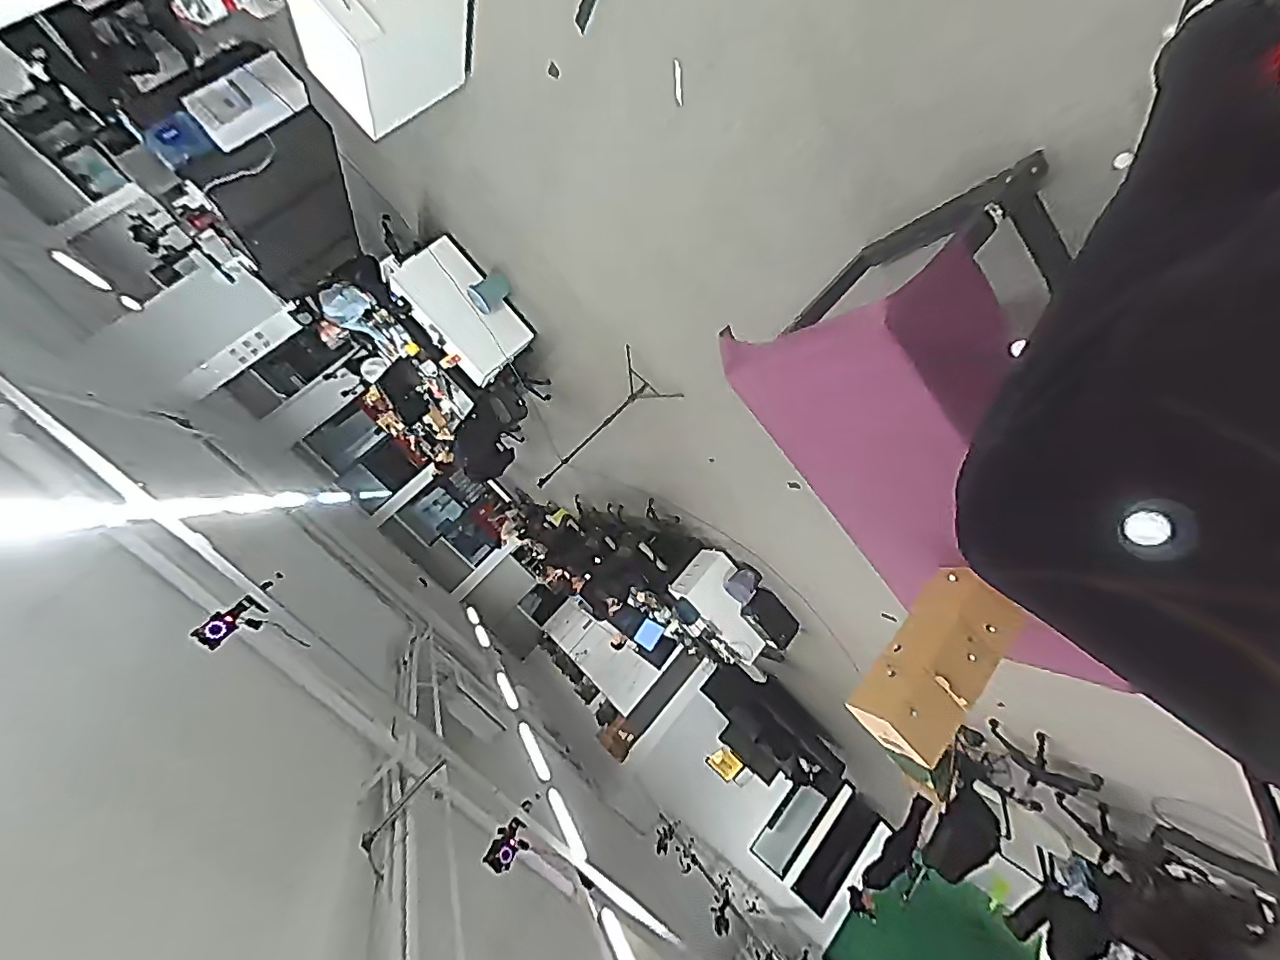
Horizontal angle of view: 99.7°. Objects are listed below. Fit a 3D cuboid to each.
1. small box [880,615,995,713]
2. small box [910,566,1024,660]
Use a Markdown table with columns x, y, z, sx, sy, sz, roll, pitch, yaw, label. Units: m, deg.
| x | y | z | sx | sy | sz | roll | pitch | yaw | label |
| --- | --- | --- | --- | --- | --- | --- | --- | --- | --- |
| 0.792 | 0.479 | 1.440 | 0.168 | 0.176 | 0.179 | 45 | 163 | -4 | small box |
| 0.897 | 0.358 | 1.481 | 0.179 | 0.176 | 0.168 | 46 | 163 | -5 | small box |
